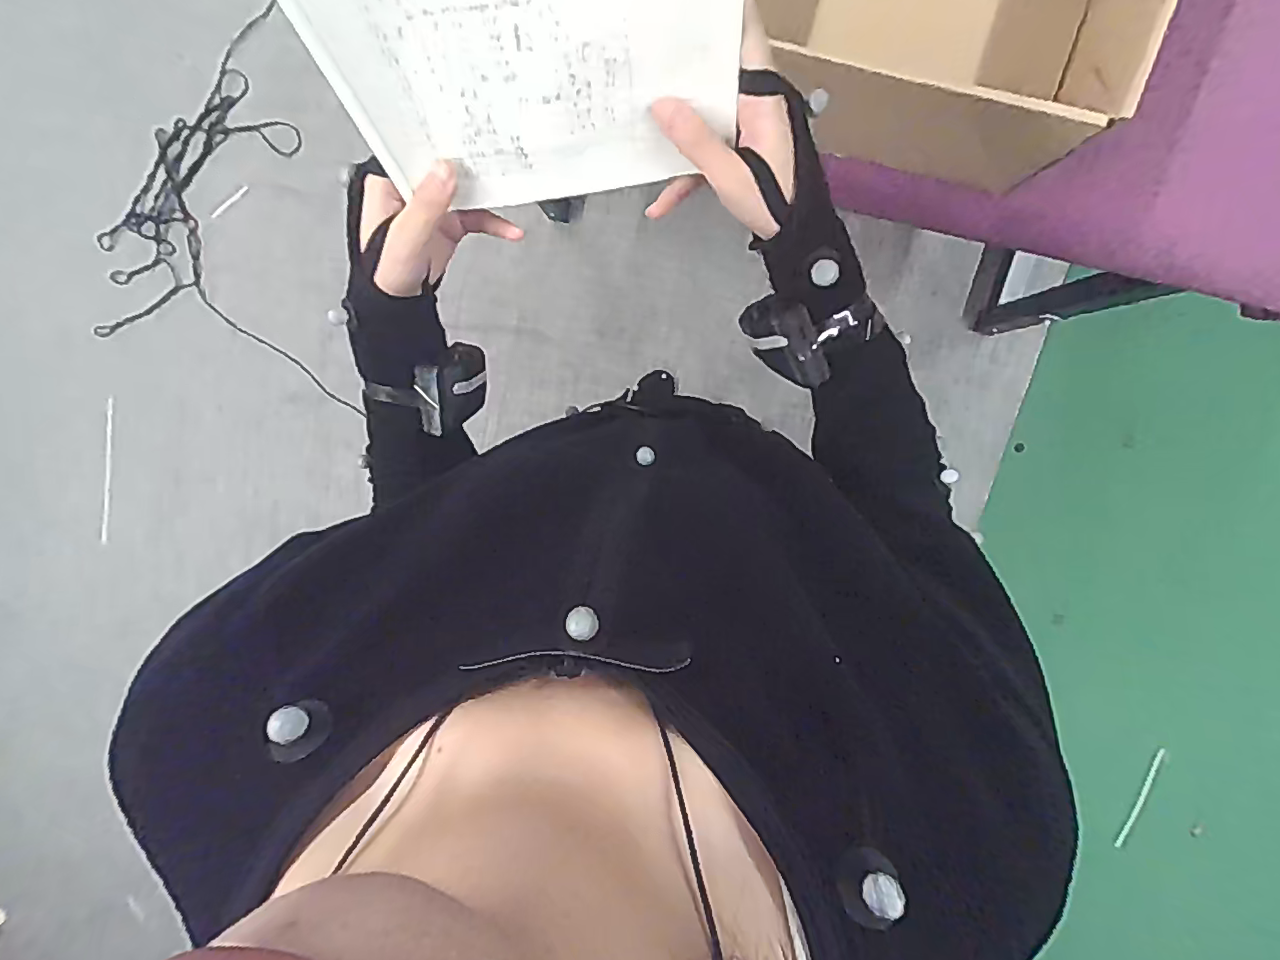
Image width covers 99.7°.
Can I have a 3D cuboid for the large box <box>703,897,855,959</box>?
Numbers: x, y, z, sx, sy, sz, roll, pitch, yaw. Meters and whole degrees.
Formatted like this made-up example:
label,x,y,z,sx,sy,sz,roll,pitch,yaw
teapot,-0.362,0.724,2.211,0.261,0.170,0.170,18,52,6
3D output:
label,x,y,z,sx,sy,sz,roll,pitch,yaw
large box,0.389,1.451,1.525,0.408,0.320,0.320,0,99,4
